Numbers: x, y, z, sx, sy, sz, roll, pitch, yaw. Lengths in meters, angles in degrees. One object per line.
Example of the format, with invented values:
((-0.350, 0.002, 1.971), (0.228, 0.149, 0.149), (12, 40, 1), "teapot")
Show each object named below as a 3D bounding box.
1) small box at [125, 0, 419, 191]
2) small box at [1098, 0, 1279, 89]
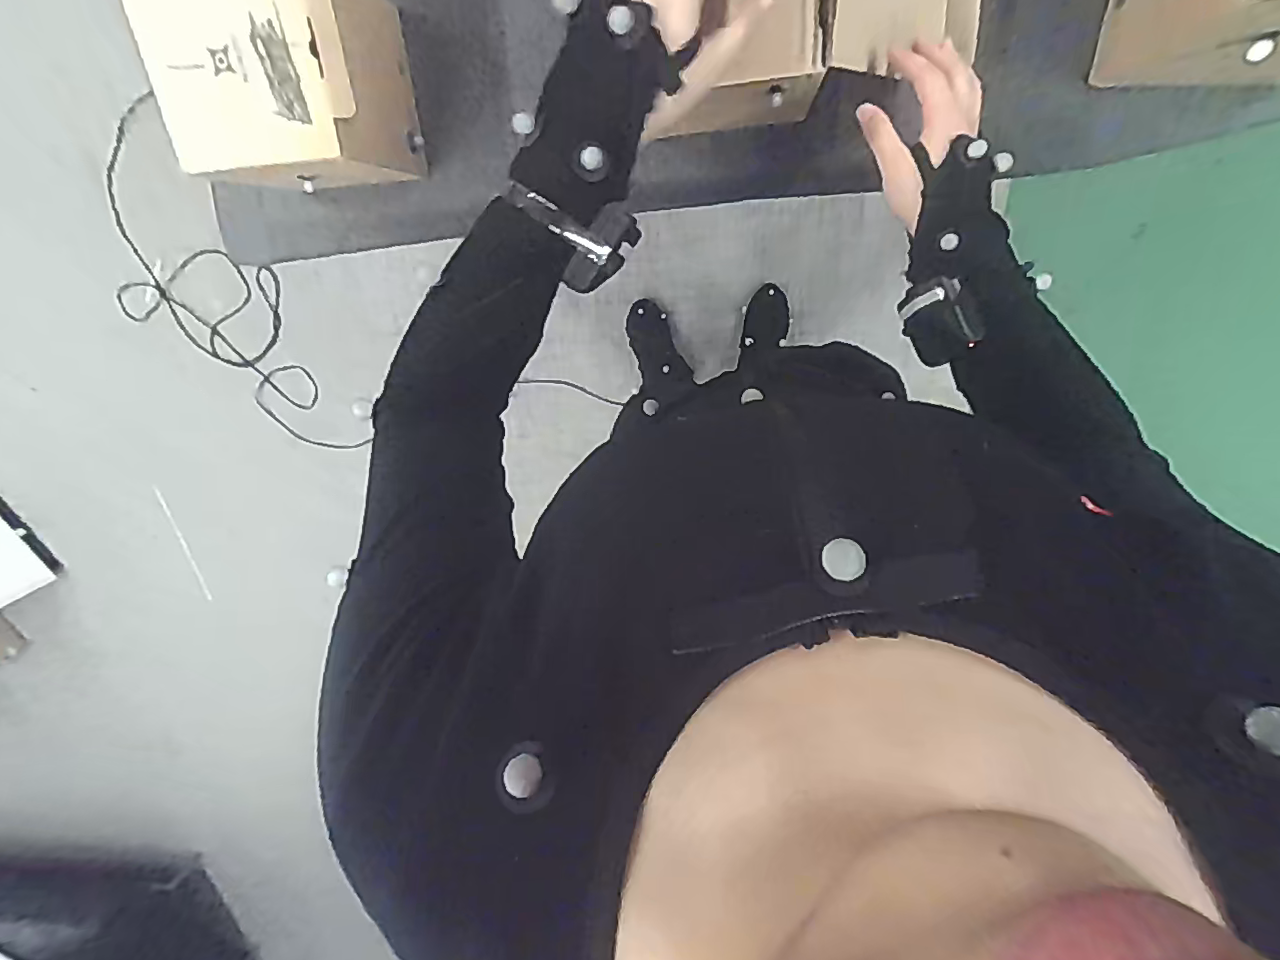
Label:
((-0.352, -0.402, 0.558), (0.179, 0.176, 0.168), (0, 113, 9), "small box")
((0.512, -0.424, 0.415), (0.179, 0.176, 0.168), (4, 109, 8), "small box")
